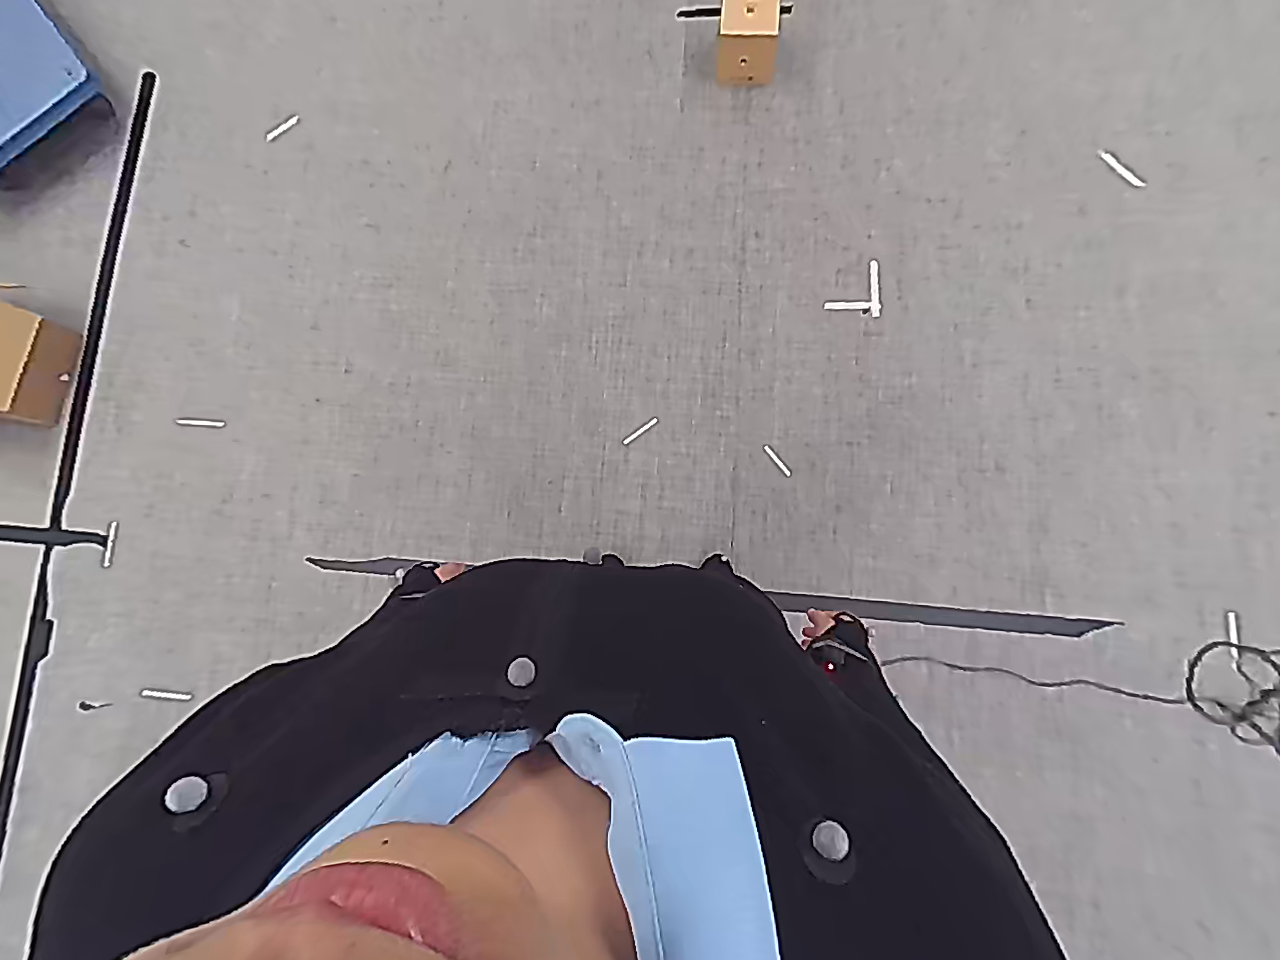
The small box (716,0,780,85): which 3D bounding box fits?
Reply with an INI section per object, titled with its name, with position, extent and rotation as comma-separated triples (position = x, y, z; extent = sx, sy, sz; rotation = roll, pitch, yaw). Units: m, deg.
[small box]
position = 0.321, -1.332, 1.624
extent = 0.168, 0.176, 0.179
rotation = 6, 82, 5
